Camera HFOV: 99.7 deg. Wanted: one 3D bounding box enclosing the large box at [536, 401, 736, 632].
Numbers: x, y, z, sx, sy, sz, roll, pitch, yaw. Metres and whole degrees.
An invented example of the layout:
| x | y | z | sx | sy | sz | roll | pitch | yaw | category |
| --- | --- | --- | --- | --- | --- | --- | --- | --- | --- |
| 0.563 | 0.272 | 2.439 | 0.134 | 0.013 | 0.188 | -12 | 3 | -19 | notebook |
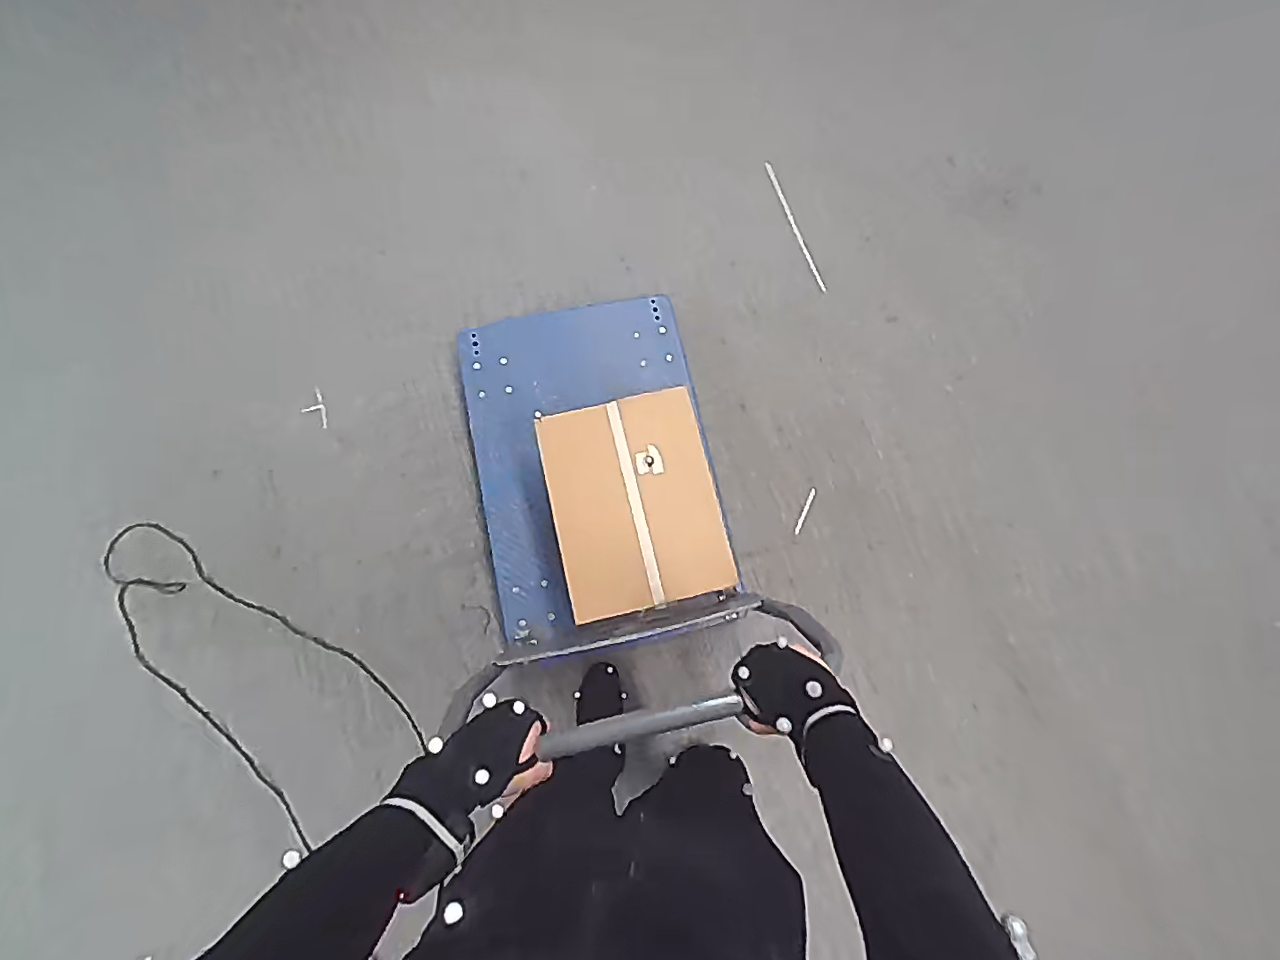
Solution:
| x | y | z | sx | sy | sz | roll | pitch | yaw | category |
| --- | --- | --- | --- | --- | --- | --- | --- | --- | --- |
| -0.013 | 0.092 | 1.196 | 0.320 | 0.320 | 0.408 | -13 | 78 | -4 | large box |
